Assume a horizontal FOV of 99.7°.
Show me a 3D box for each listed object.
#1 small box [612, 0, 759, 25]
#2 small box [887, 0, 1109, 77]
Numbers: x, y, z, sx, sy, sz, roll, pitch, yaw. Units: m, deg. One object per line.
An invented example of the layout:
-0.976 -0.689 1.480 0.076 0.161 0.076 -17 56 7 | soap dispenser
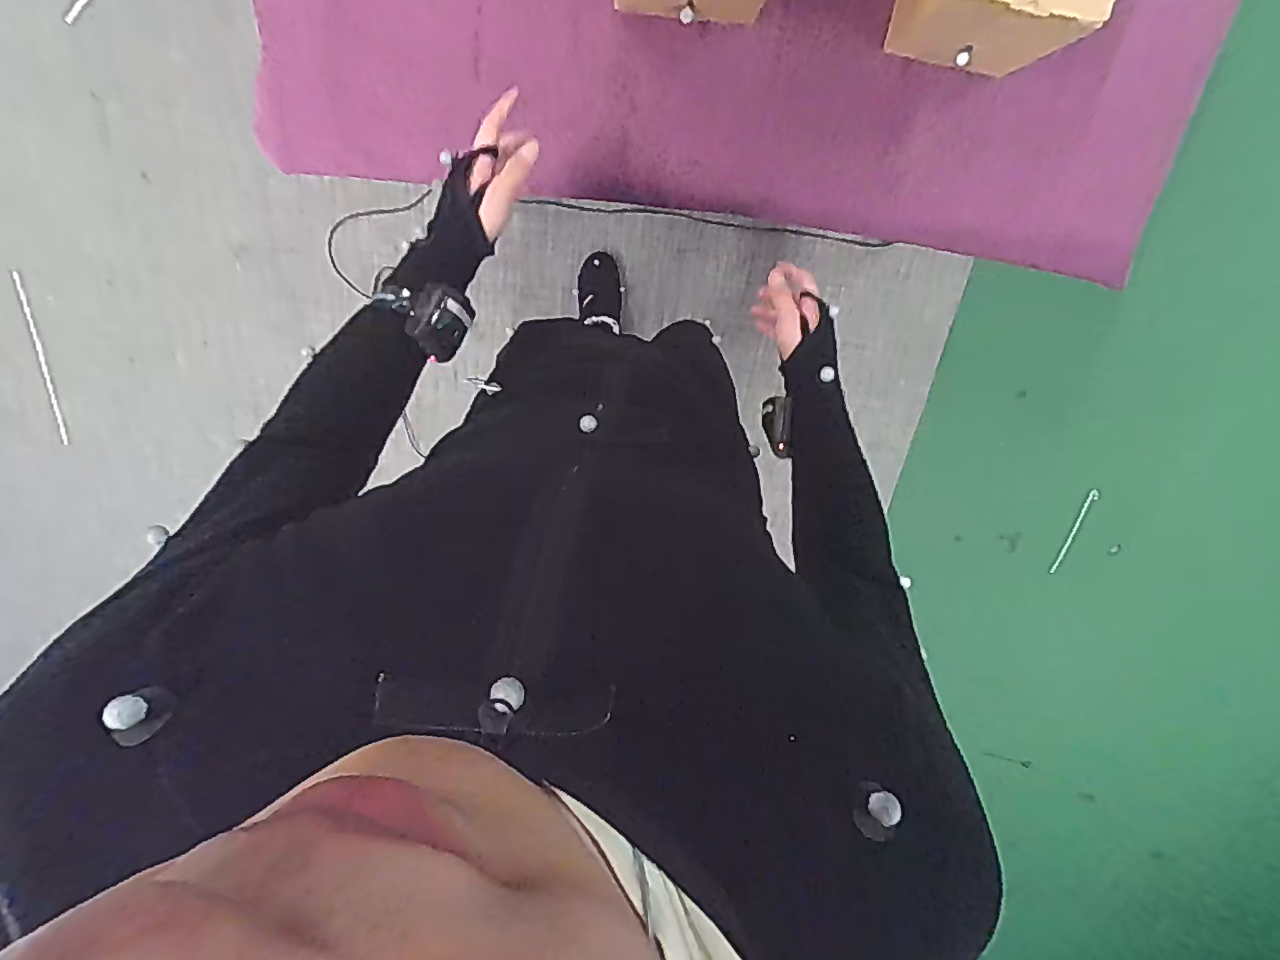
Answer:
0.059 -0.616 0.570 0.179 0.176 0.168 2 112 -3 | small box
0.402 -0.585 0.593 0.168 0.176 0.179 8 111 -5 | small box
